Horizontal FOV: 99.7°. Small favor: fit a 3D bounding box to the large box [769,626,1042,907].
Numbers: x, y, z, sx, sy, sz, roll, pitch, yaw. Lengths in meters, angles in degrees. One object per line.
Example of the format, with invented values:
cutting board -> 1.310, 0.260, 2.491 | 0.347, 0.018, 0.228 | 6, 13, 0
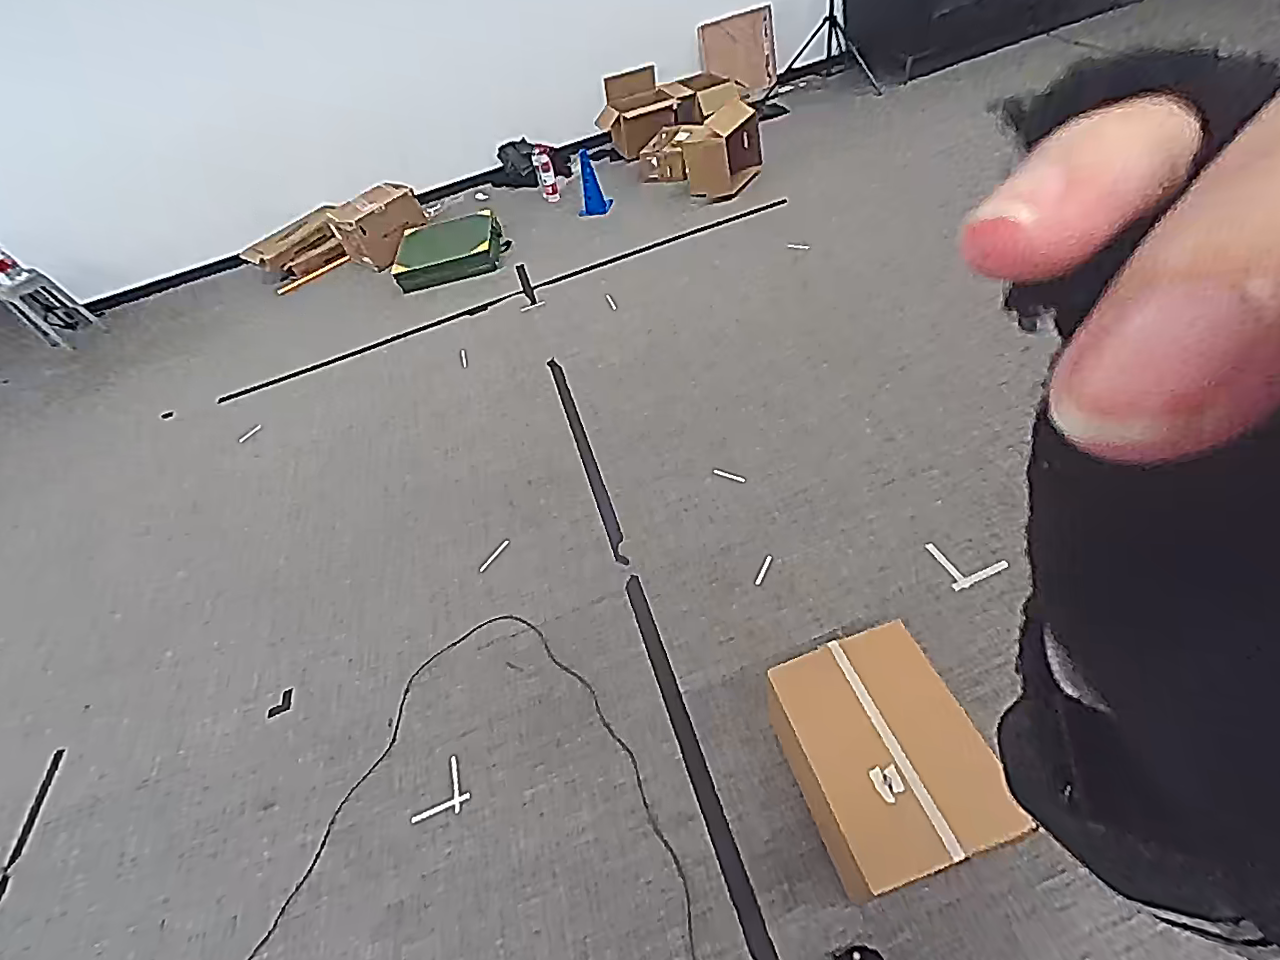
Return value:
large box -> 0.500, 0.593, 1.134 | 0.320, 0.320, 0.408 | -21, 49, -3
